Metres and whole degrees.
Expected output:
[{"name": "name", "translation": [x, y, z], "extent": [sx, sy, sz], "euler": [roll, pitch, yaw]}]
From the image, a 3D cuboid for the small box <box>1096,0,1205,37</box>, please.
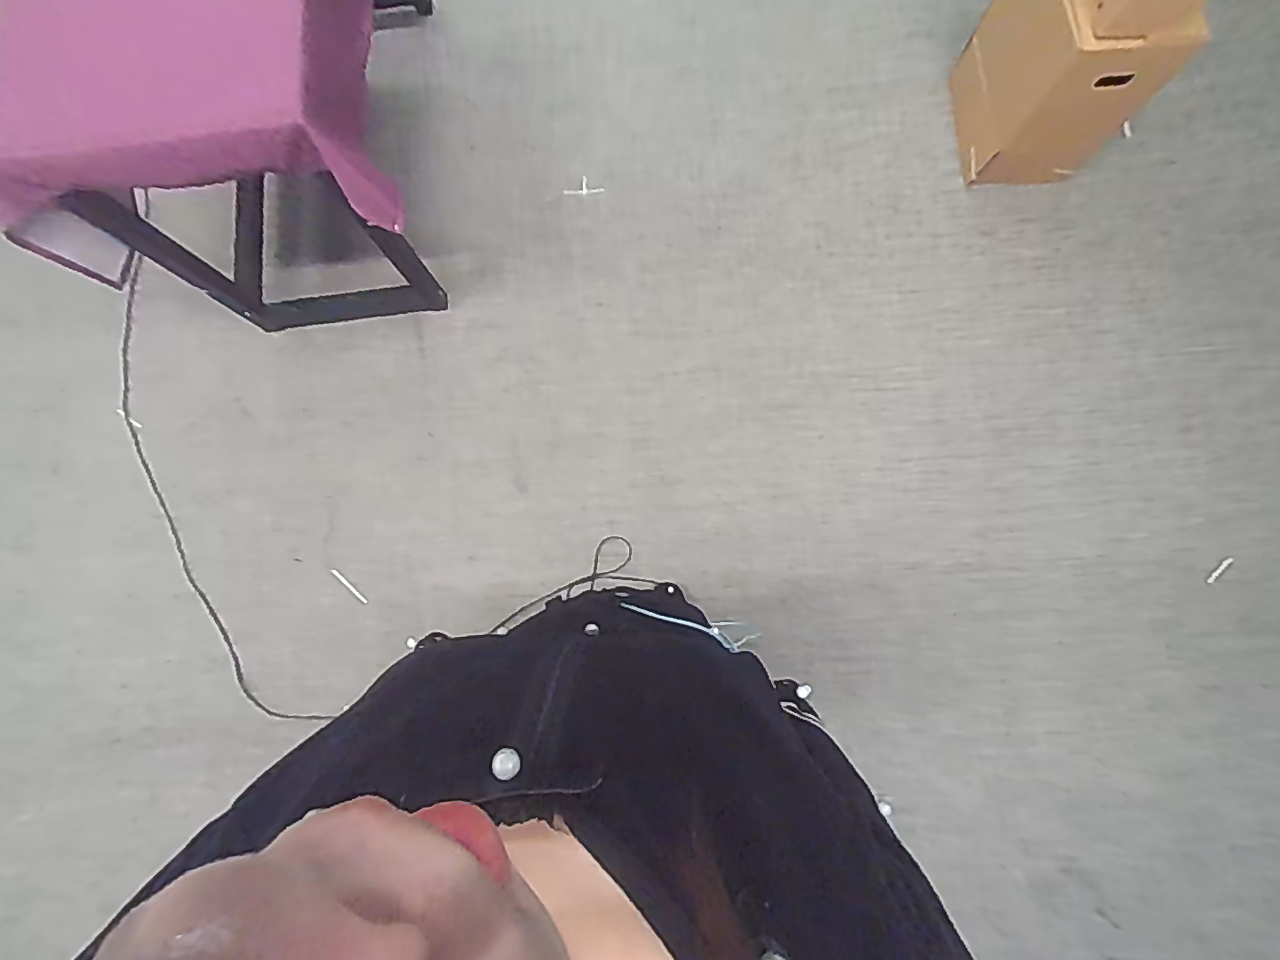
[{"name": "small box", "translation": [1.142, -1.112, 1.179], "extent": [0.179, 0.176, 0.168], "euler": [0, 79, 1]}]
